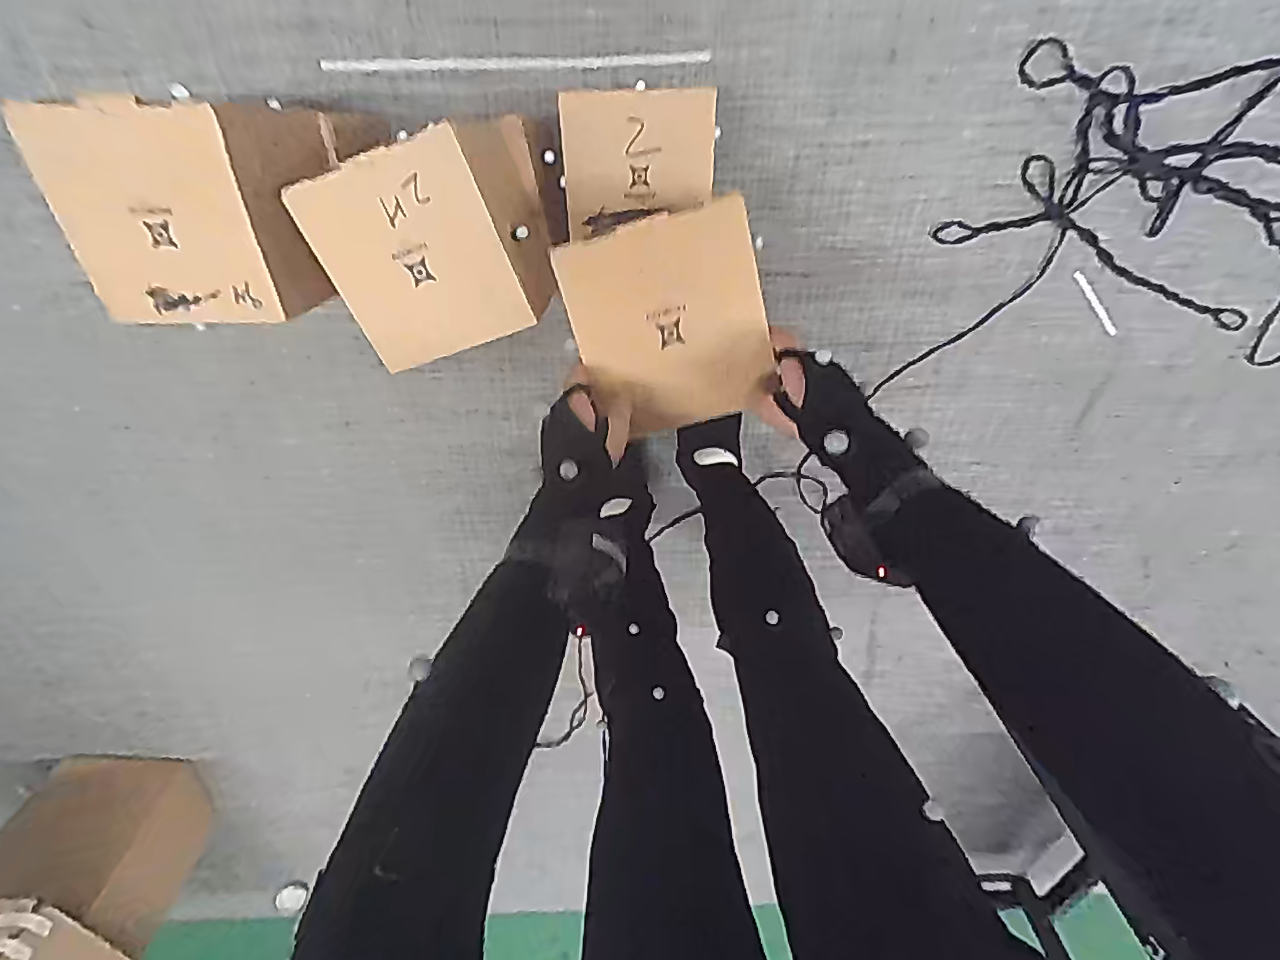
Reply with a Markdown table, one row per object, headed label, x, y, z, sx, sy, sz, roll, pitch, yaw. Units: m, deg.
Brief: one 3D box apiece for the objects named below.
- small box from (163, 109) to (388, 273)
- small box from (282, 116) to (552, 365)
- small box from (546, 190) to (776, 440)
| label | x | y | z | sx | sy | sz | roll | pitch | yaw |
| --- | --- | --- | --- | --- | --- | --- | --- | --- | --- |
| small box | -0.412 | -0.361 | 0.673 | 0.179 | 0.176 | 0.168 | -1 | 122 | 1 |
| small box | -0.202 | -0.248 | 0.556 | 0.168 | 0.176 | 0.179 | -16 | 121 | 9 |
| small box | 0.026 | -0.158 | 0.537 | 0.168 | 0.176 | 0.179 | -14 | 106 | 7 |
